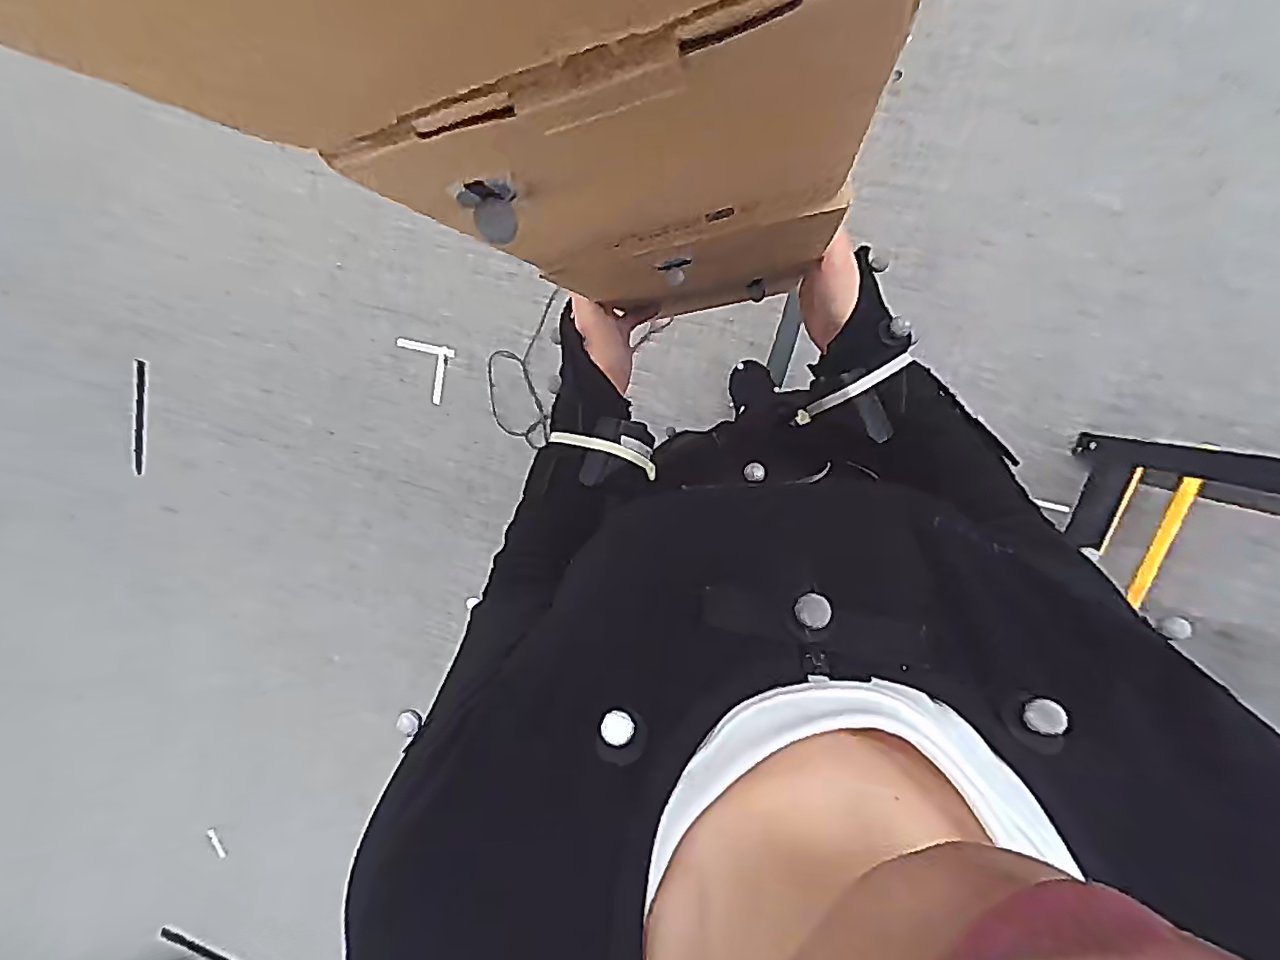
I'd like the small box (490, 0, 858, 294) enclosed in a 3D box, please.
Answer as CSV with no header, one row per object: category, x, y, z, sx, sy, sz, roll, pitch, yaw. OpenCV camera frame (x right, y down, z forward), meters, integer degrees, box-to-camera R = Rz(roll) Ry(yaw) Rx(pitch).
small box,0.029,-0.227,0.349,0.179,0.176,0.168,-8,100,13
